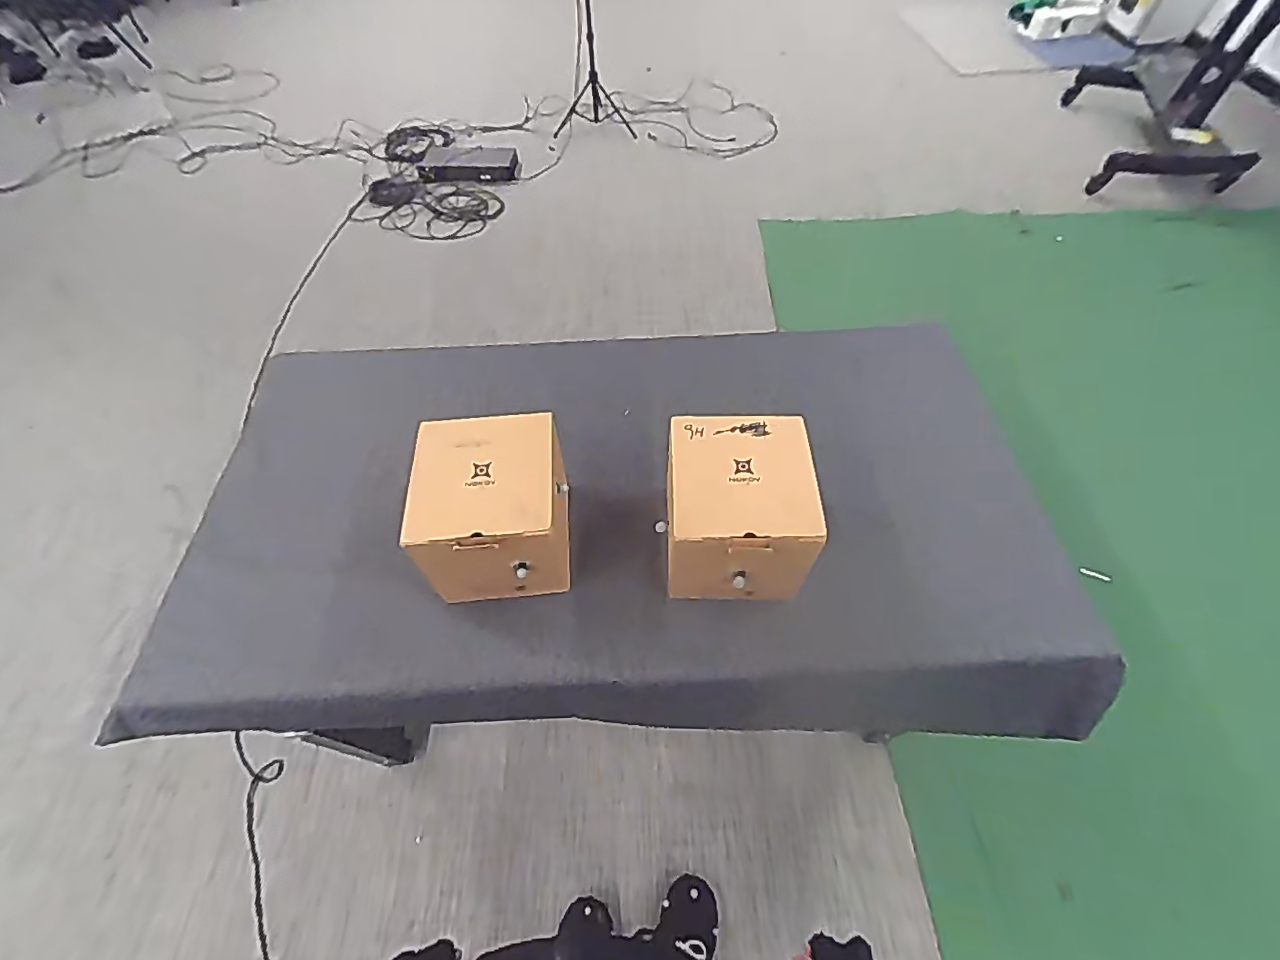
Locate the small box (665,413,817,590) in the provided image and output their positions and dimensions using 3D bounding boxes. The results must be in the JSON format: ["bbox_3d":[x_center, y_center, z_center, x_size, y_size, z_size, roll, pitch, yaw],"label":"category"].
[{"bbox_3d":[0.117,0.034,0.697,0.168,0.176,0.179,0,57,2],"label":"small box"}]

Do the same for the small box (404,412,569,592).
[{"bbox_3d":[-0.186,0.036,0.708,0.168,0.176,0.179,-5,55,-3],"label":"small box"}]
